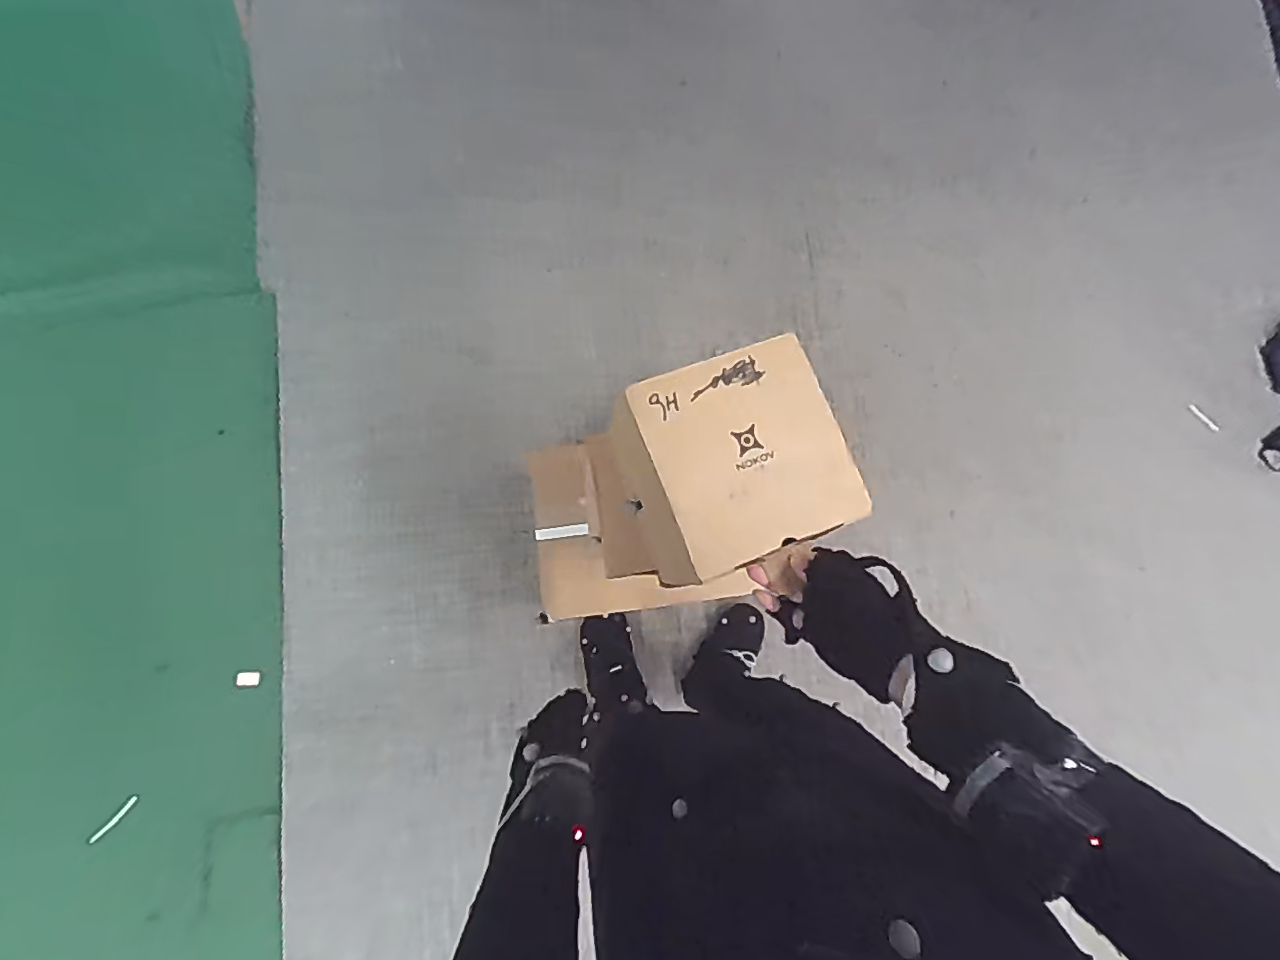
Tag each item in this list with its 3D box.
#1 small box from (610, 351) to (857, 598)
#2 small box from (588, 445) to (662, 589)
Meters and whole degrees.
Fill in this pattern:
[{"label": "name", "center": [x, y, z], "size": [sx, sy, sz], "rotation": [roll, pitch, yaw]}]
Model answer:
[{"label": "small box", "center": [0.076, 0.003, 0.542], "size": [0.168, 0.176, 0.179], "rotation": [-21, 83, -10]}, {"label": "small box", "center": [0.025, 0.039, 0.738], "size": [0.168, 0.176, 0.179], "rotation": [-9, 87, -5]}]
